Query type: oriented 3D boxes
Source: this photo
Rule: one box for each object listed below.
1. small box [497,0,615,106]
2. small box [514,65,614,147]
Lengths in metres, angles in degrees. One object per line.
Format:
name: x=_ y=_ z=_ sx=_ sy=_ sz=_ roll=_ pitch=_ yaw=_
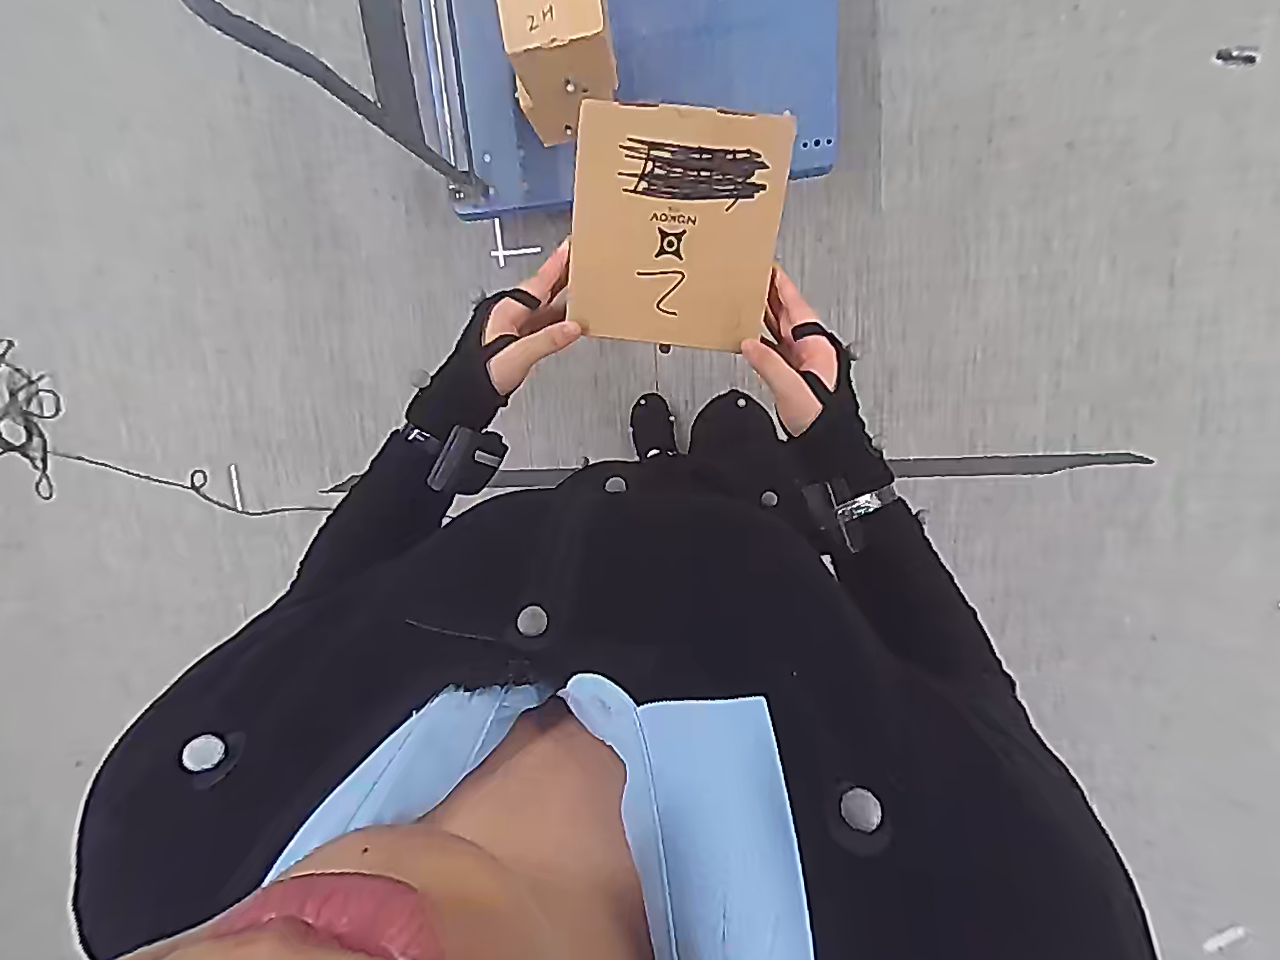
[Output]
small box: x=-0.142 y=-0.788 z=0.927 sx=0.168 sy=0.176 sz=0.179 roll=-7 pitch=99 yaw=7
small box: x=-0.153 y=-0.813 z=1.091 sx=0.168 sy=0.176 sz=0.179 roll=-7 pitch=99 yaw=6
